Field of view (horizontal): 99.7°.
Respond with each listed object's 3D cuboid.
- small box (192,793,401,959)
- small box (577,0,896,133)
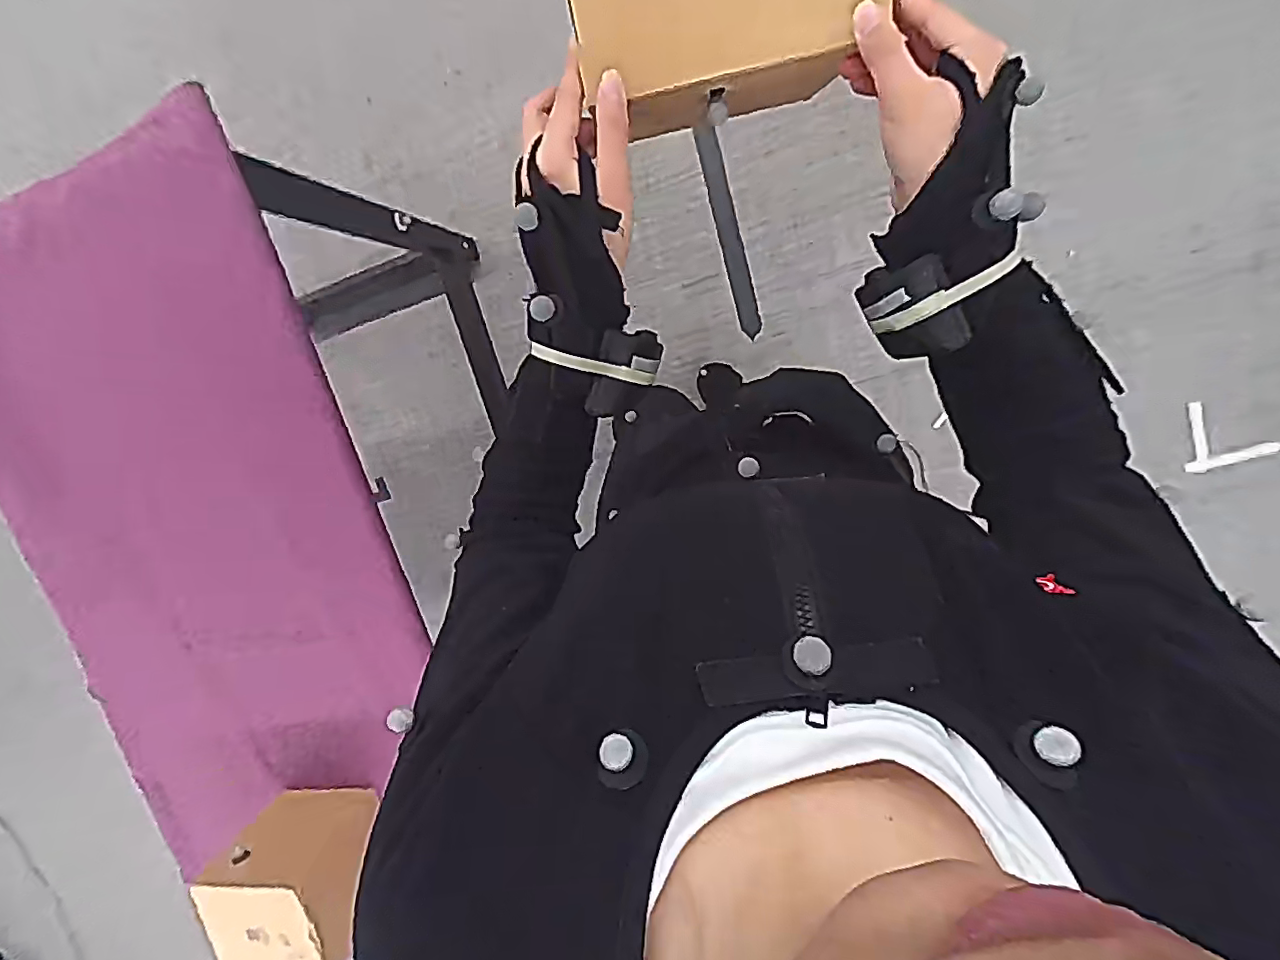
[{"bbox_3d":[-0.494,0.594,0.801,0.179,0.176,0.168,-8,102,11],"label":"small box"},{"bbox_3d":[0.045,-0.344,0.348,0.179,0.176,0.168,-9,114,7],"label":"small box"}]
